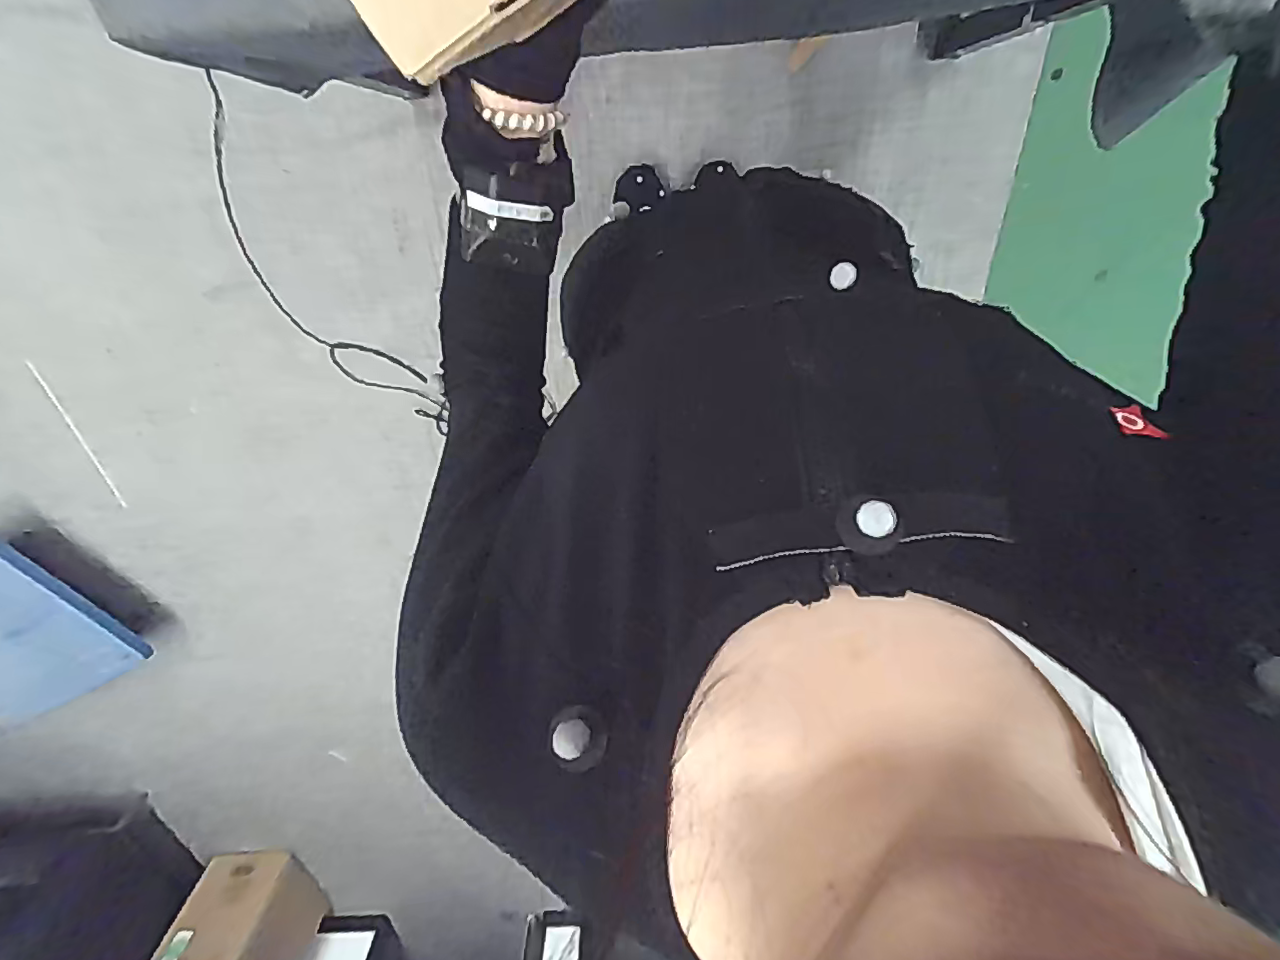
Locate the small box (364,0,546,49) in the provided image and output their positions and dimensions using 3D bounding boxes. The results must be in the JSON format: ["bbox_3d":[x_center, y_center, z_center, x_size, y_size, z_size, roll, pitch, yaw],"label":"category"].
[{"bbox_3d":[-0.035,-0.254,0.132,0.168,0.176,0.179,-22,130,19],"label":"small box"}]
